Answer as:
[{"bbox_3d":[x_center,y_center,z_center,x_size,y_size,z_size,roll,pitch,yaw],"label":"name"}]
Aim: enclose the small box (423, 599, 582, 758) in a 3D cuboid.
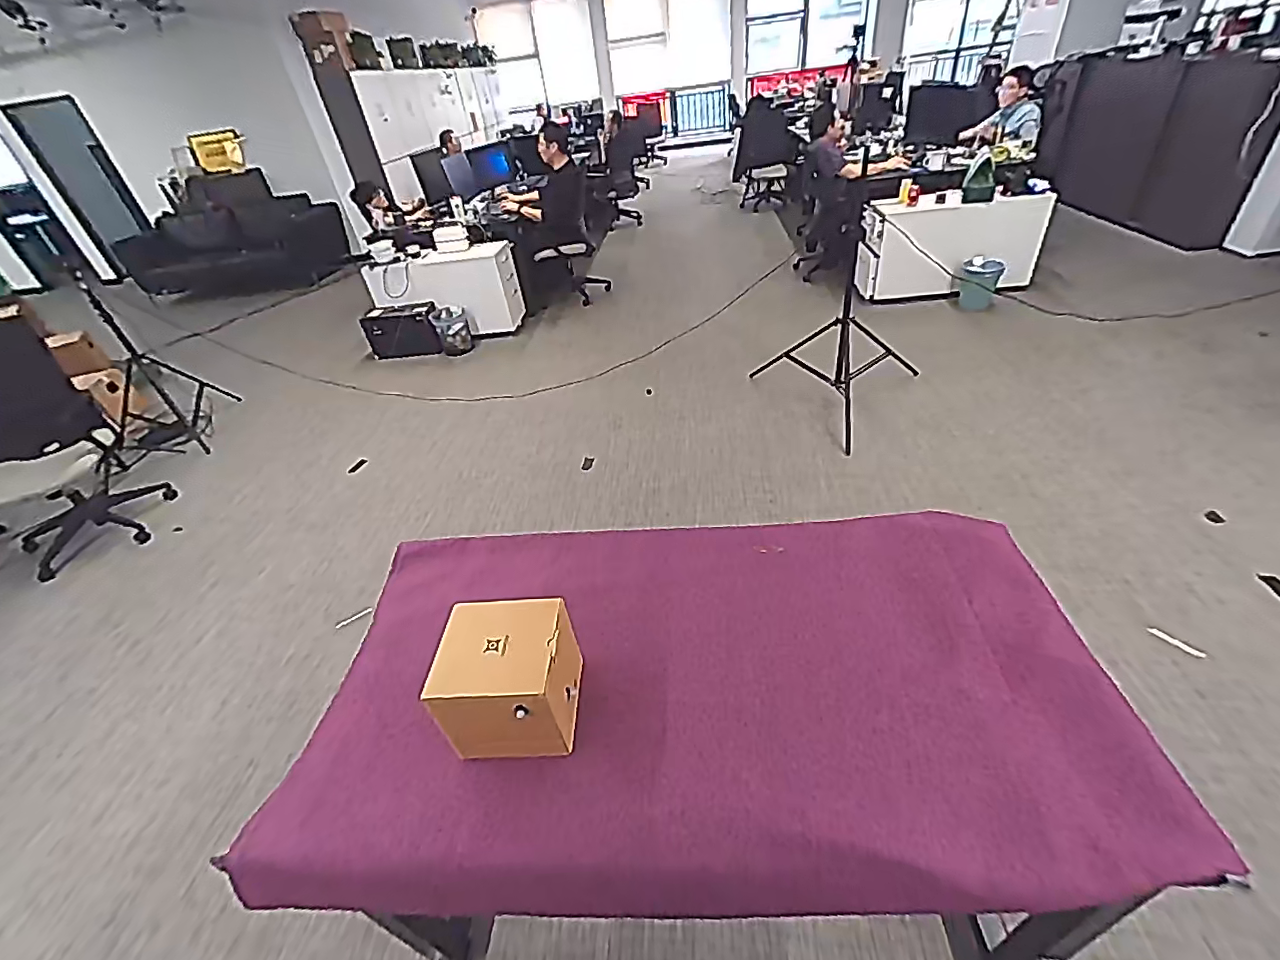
[{"bbox_3d":[-0.196,0.305,0.828,0.179,0.176,0.168,-4,37,4],"label":"small box"}]
